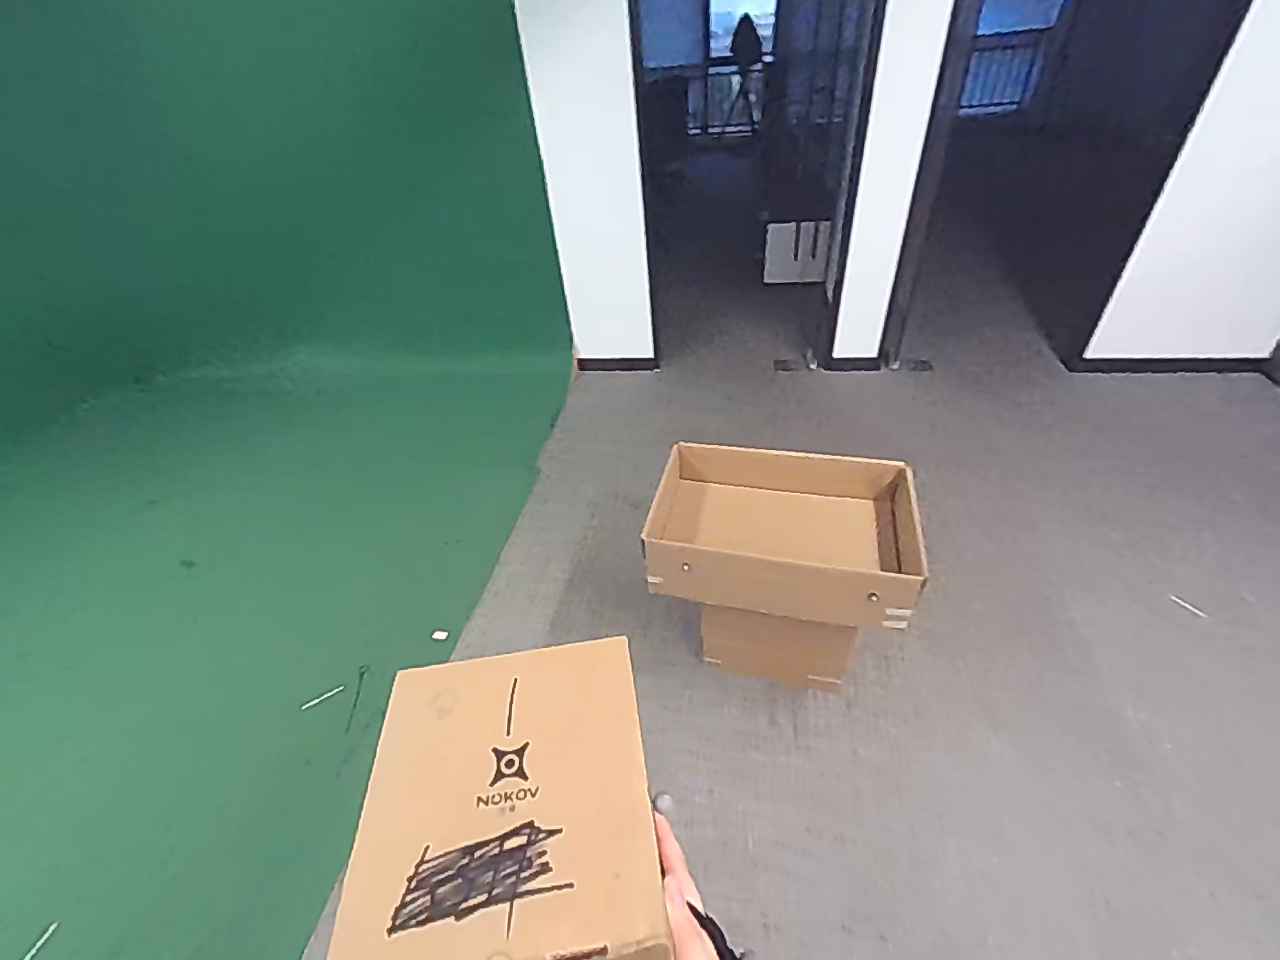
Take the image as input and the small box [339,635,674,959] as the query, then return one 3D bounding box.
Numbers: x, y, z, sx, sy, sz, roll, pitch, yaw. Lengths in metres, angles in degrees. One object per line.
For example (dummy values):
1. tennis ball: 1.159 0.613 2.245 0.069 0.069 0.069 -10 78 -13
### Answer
1. small box: -0.070 0.238 0.375 0.168 0.176 0.179 -7 38 -4
